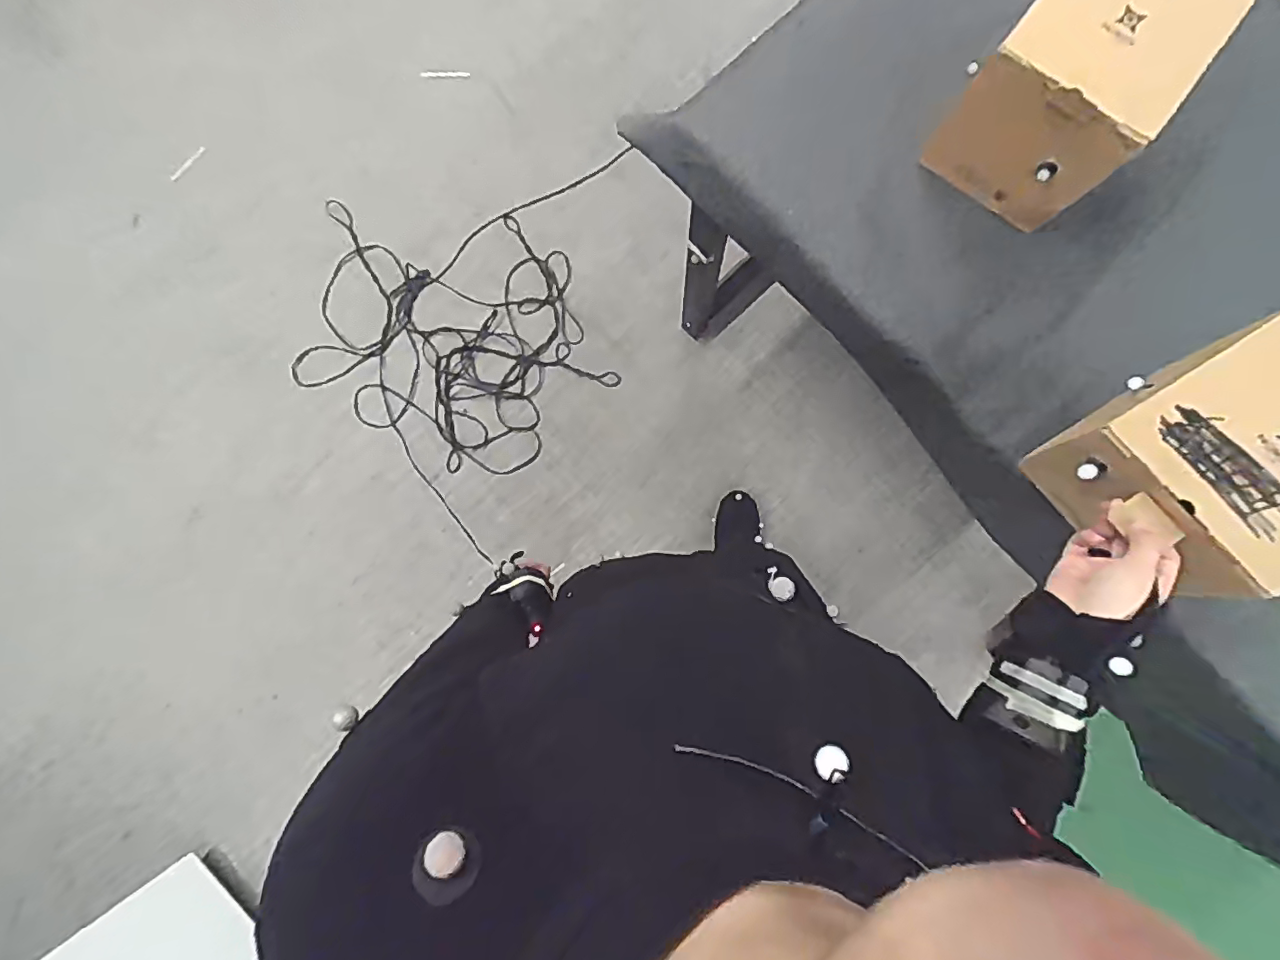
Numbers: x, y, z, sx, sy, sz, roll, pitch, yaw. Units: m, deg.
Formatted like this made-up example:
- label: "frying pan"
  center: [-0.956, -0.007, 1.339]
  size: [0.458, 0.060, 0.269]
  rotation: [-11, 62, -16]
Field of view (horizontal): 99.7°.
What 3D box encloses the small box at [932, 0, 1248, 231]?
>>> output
- label: "small box"
  center: [0.456, -0.414, 0.586]
  size: [0.168, 0.176, 0.179]
  rotation: [36, 87, 3]
